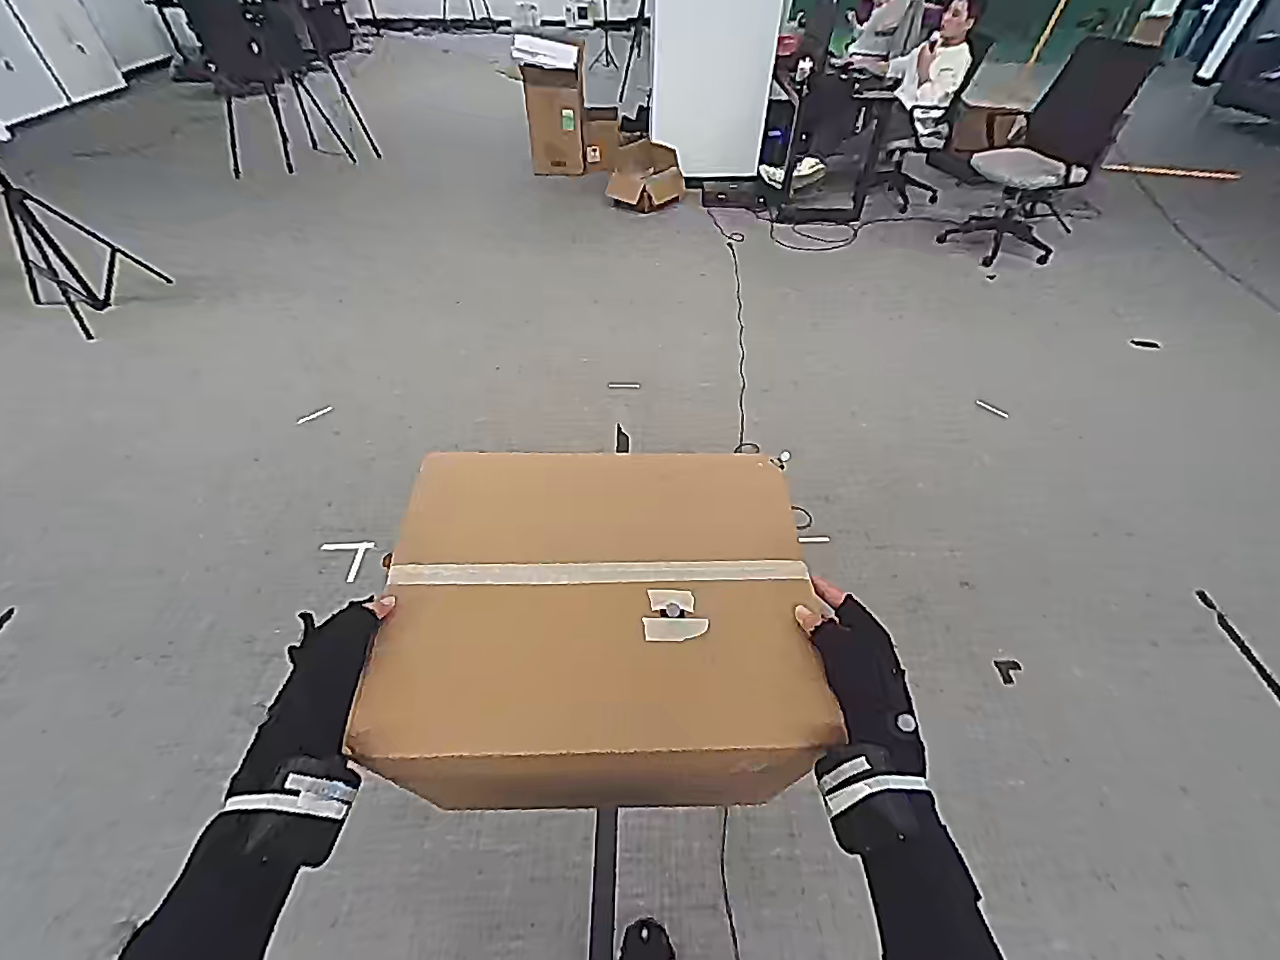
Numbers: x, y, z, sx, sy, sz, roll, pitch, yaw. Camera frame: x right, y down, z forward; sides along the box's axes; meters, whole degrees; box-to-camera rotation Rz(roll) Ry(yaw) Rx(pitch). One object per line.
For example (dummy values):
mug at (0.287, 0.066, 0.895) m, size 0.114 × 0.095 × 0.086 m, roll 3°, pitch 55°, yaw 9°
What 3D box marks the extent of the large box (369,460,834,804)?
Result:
large box at (-0.041, 0.190, 0.662) m, size 0.408 × 0.320 × 0.320 m, roll 0°, pitch 53°, yaw -3°
